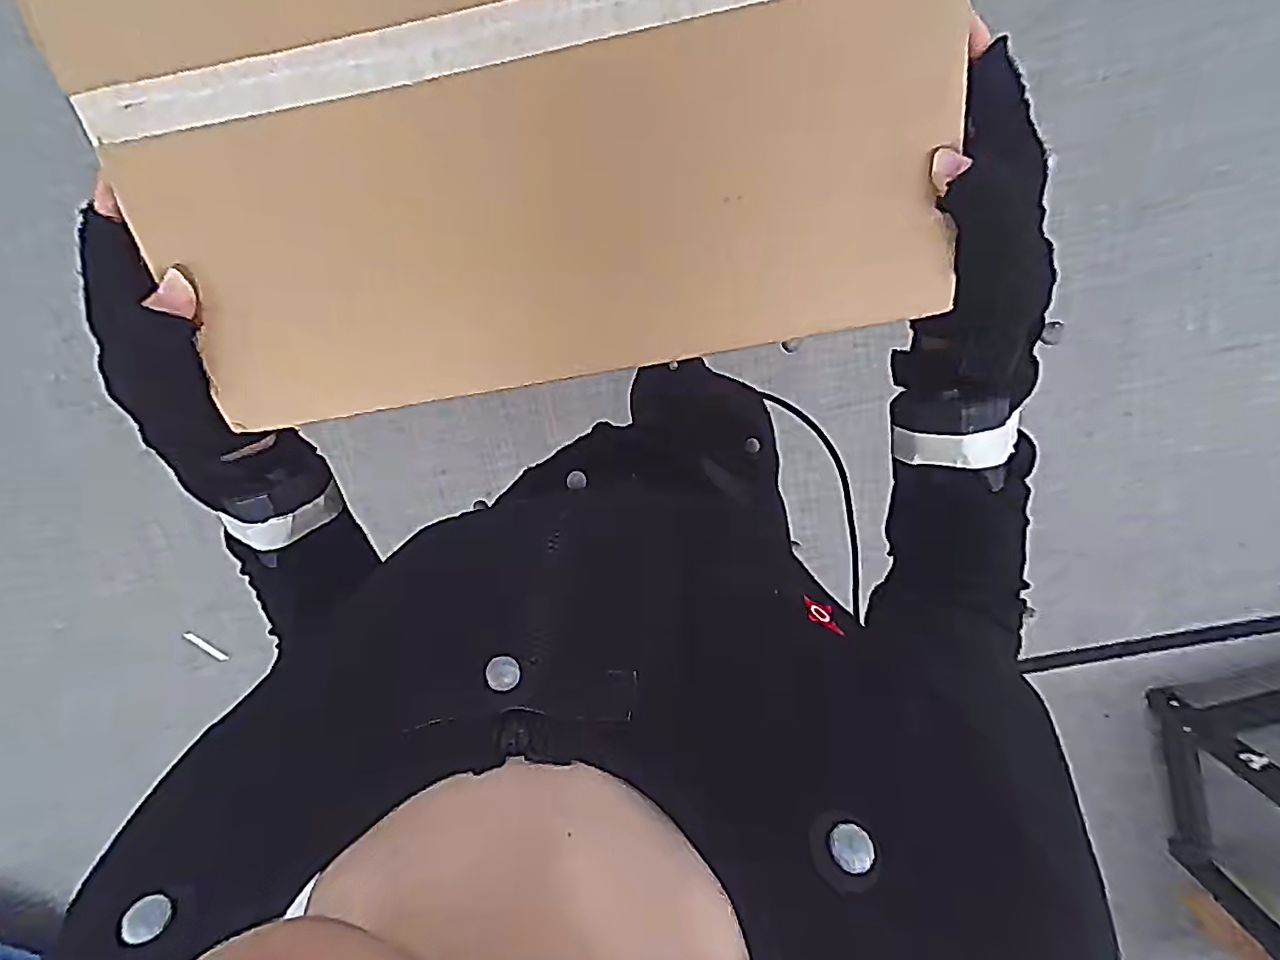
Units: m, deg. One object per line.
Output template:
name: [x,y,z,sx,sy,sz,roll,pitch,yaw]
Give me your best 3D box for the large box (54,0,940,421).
large box: [-0.060,-0.264,0.388,0.408,0.320,0.320,-9,111,4]
